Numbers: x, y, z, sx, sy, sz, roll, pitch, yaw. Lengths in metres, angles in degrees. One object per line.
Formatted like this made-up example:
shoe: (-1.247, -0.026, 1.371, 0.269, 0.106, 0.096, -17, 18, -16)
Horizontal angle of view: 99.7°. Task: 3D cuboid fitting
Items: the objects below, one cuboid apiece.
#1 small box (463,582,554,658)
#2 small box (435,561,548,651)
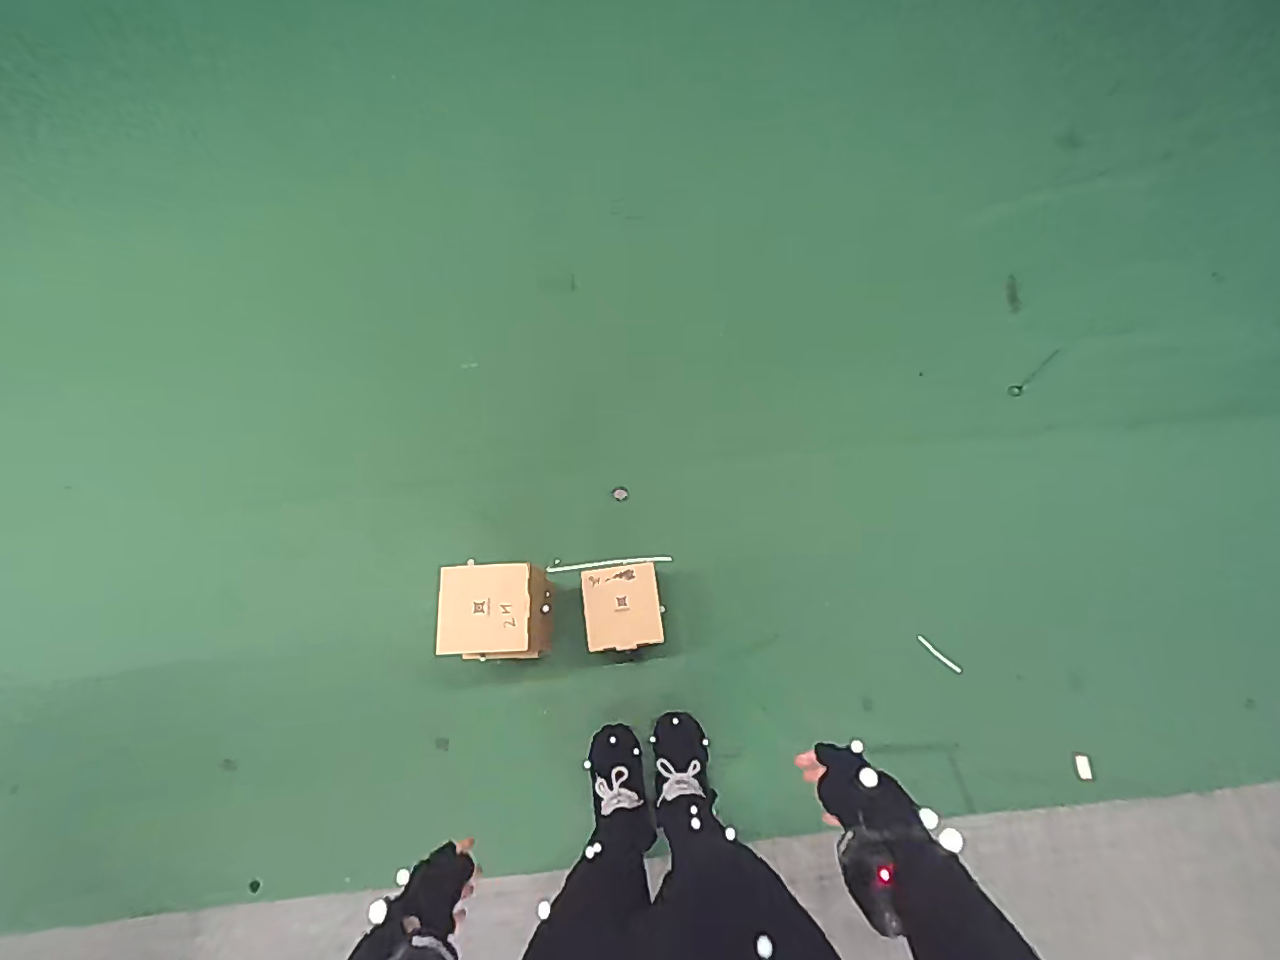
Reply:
small box: (-0.297, 0.318, 1.256, 0.168, 0.176, 0.179, -2, 73, 1)
small box: (-0.293, 0.261, 1.101, 0.179, 0.176, 0.168, -2, 73, 1)
